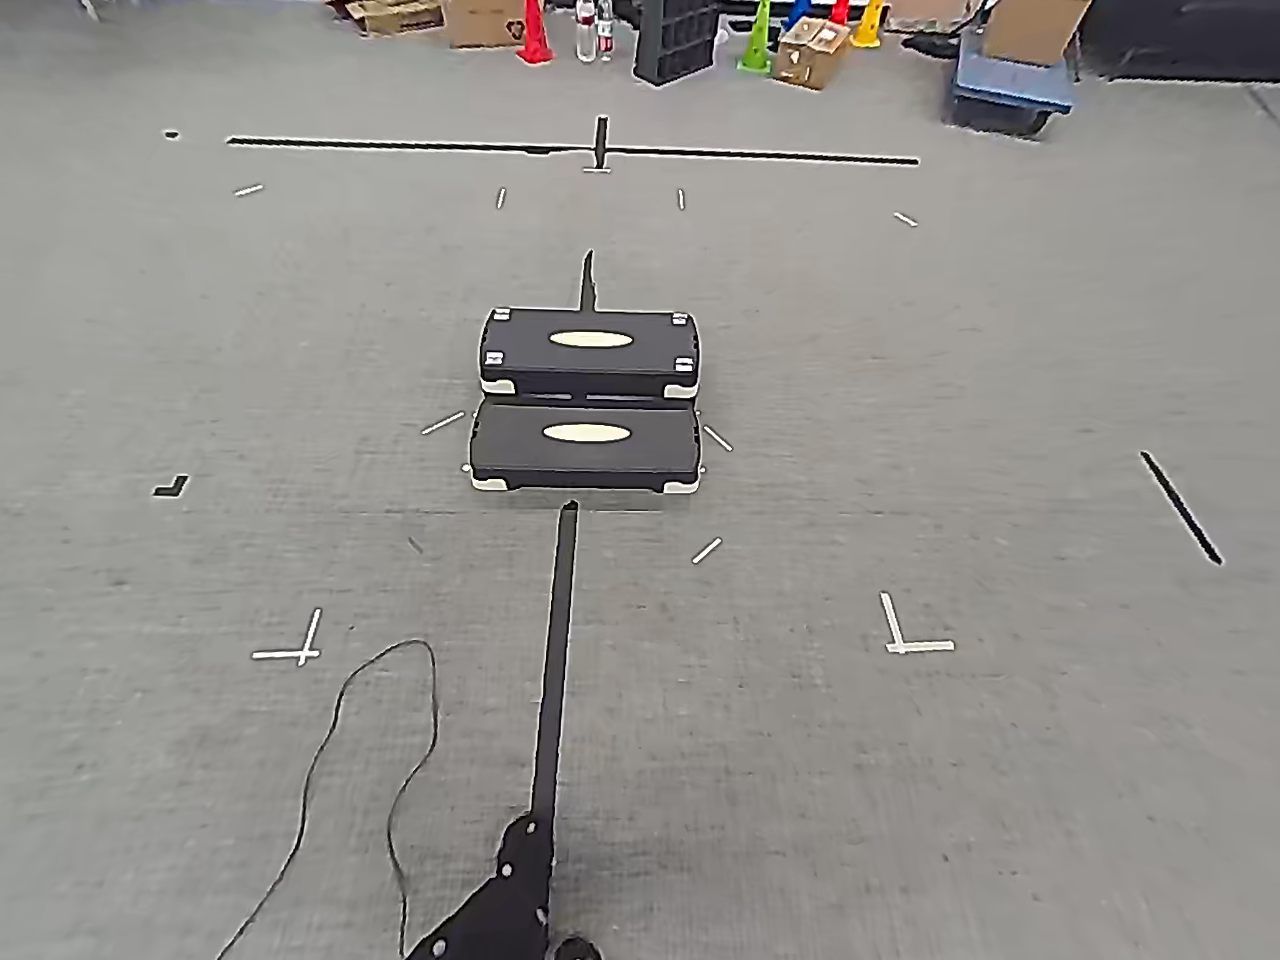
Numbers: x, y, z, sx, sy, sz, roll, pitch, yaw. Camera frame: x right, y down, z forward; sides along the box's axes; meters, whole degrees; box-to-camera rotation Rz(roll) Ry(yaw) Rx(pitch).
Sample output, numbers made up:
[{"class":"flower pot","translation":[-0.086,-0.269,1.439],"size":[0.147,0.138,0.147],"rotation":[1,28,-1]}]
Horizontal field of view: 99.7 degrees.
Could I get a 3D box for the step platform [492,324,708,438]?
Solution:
[{"class":"step platform","translation":[-0.124,-0.323,1.748],"size":[0.684,0.204,0.286],"rotation":[5,55,0]}]
